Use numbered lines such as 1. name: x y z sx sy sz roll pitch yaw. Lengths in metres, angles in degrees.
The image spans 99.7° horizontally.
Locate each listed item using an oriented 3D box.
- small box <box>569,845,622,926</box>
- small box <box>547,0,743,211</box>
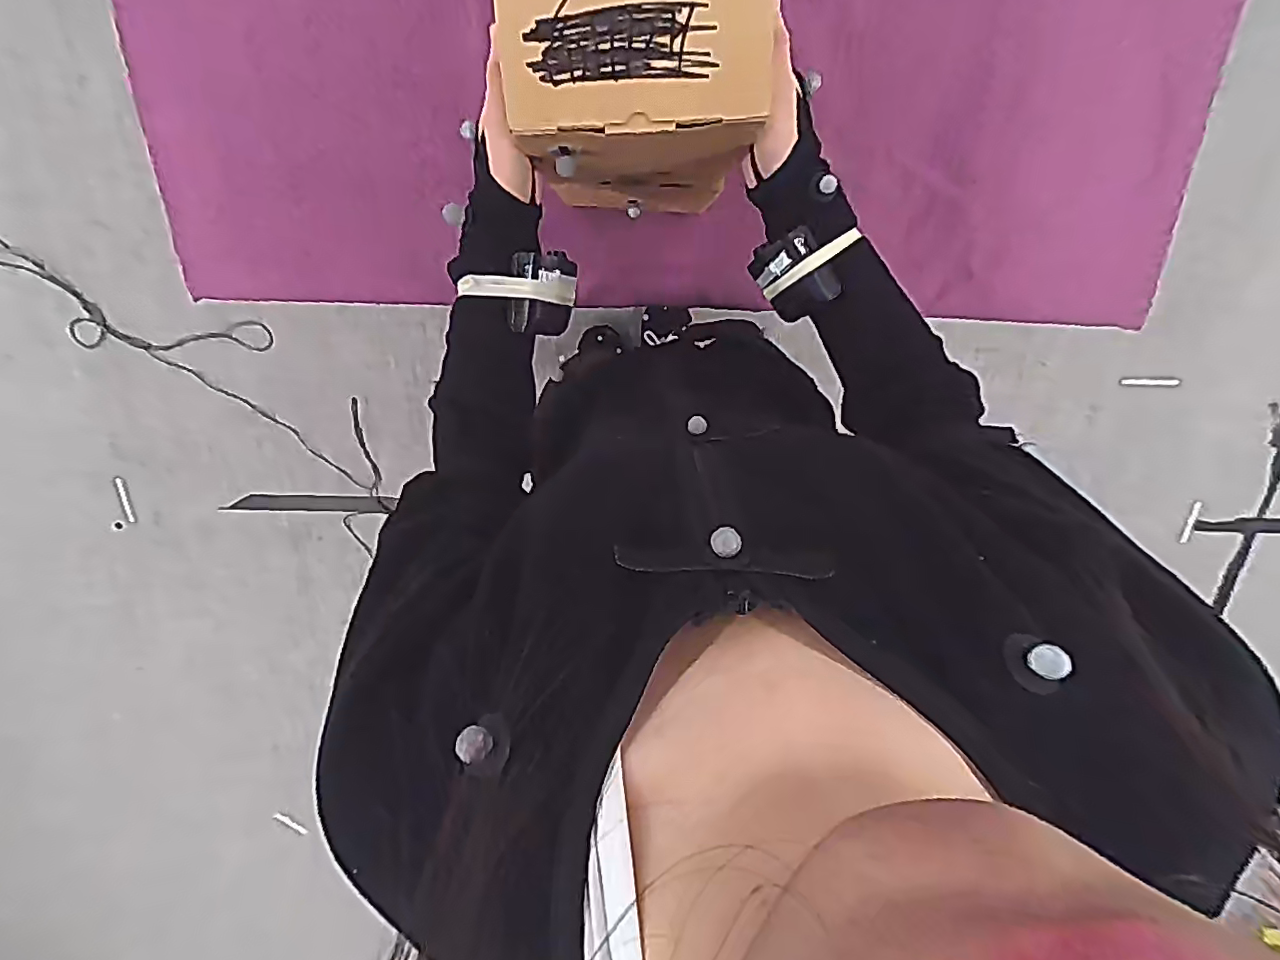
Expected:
1. small box: -0.159 1.485 1.983 0.168 0.176 0.179 -8 110 1
2. small box: 0.001 -0.383 0.542 0.168 0.176 0.179 3 110 -1
